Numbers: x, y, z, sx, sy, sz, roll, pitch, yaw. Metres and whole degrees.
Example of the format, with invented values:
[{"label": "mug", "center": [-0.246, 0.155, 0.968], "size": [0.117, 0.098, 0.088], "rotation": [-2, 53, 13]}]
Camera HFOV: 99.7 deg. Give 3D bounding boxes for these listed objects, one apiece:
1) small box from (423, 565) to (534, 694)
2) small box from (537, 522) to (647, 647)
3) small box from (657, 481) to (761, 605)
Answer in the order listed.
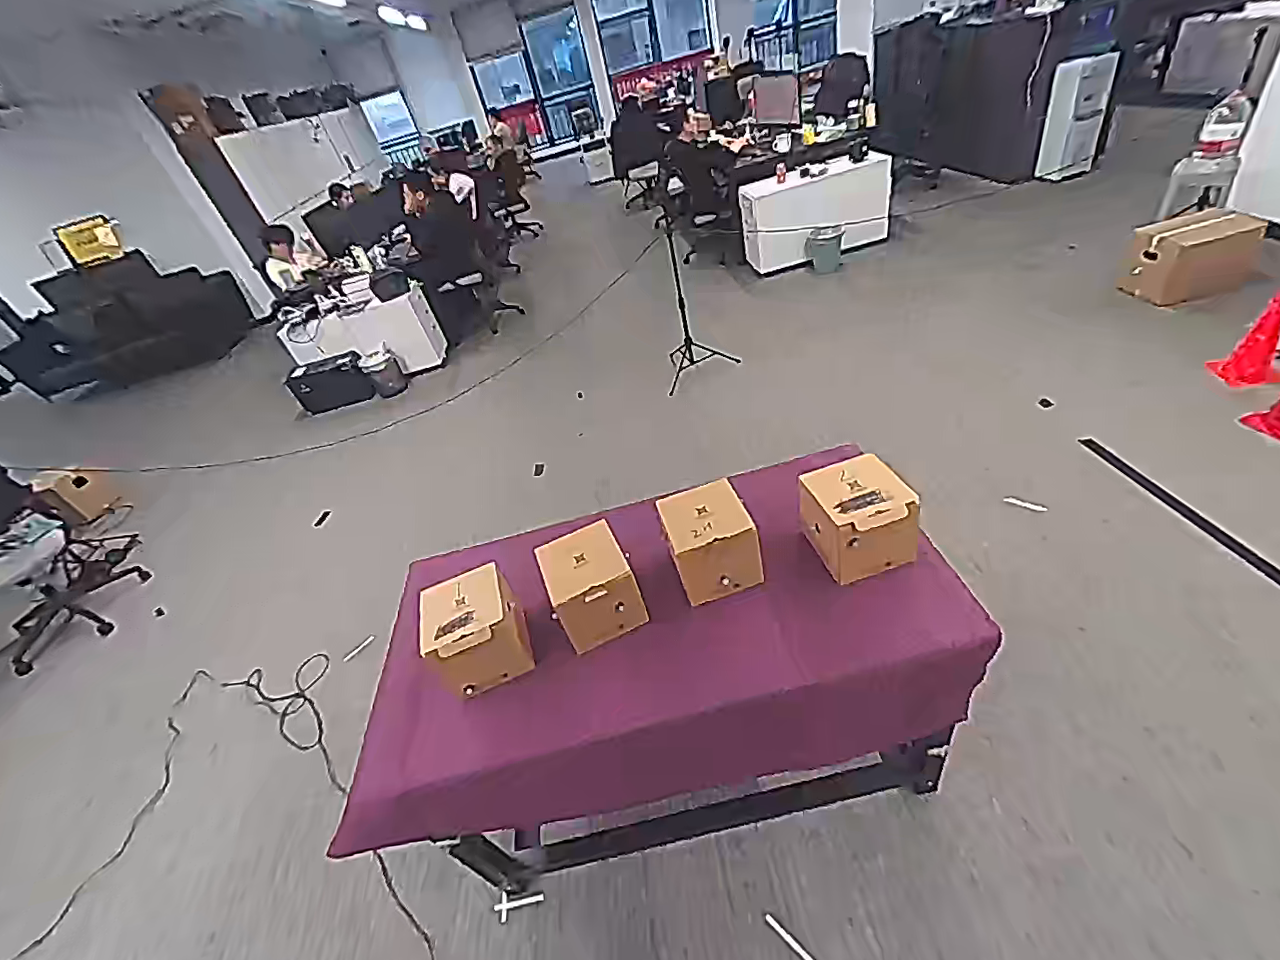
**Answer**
[{"label": "small box", "center": [-0.334, 0.317, 1.125], "size": [0.168, 0.176, 0.179], "rotation": [-22, 38, -7]}, {"label": "small box", "center": [-0.100, 0.228, 1.148], "size": [0.168, 0.176, 0.179], "rotation": [-23, 38, -9]}, {"label": "small box", "center": [0.148, 0.135, 1.165], "size": [0.168, 0.176, 0.179], "rotation": [-19, 38, -1]}]
